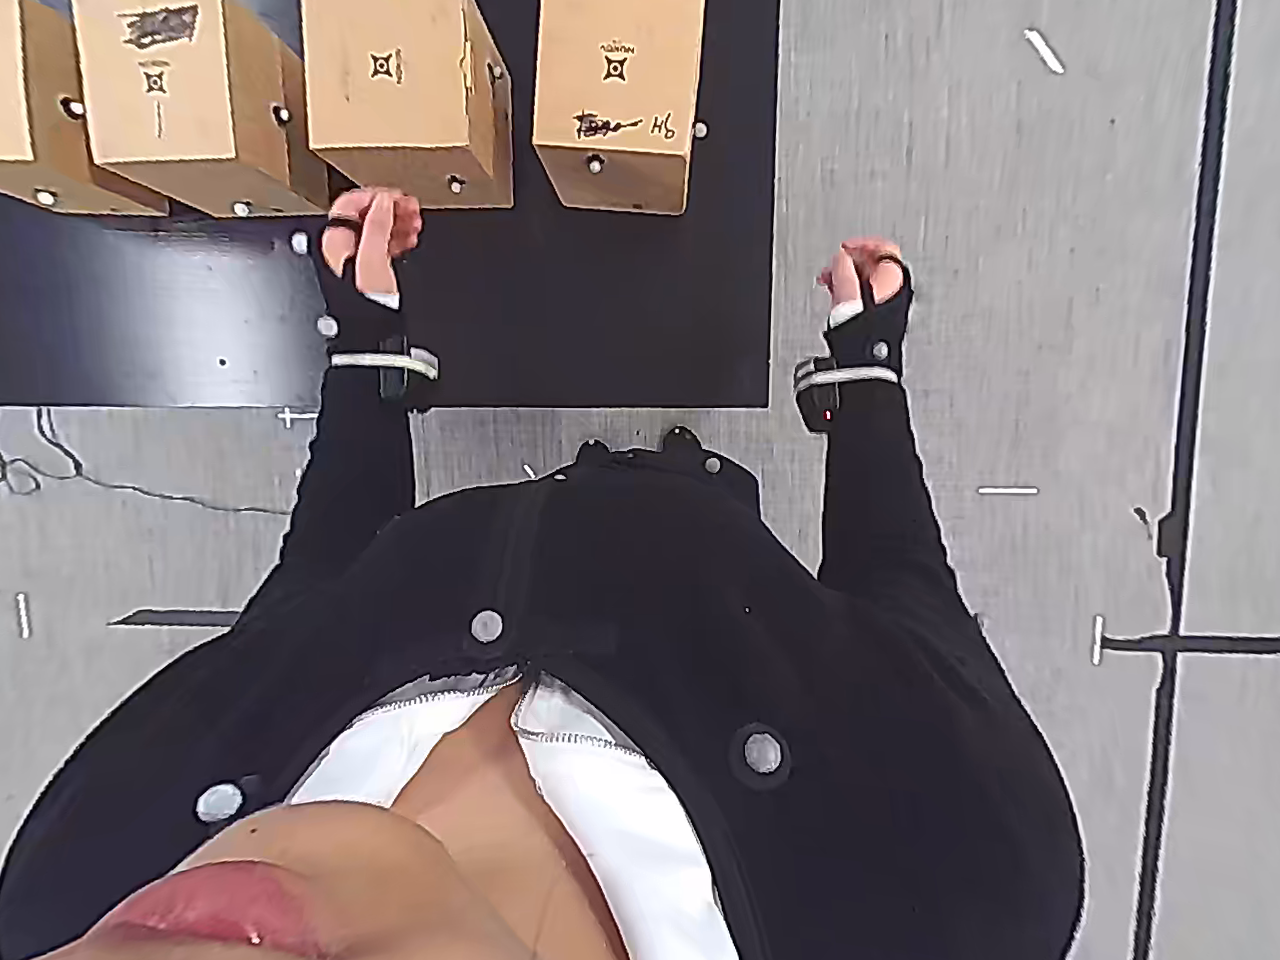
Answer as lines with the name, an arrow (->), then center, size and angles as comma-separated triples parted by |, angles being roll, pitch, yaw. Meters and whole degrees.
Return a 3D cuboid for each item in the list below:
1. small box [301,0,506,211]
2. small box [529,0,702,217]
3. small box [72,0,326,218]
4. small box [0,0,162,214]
small box -> -0.264, -0.439, 0.646 | 0.179, 0.176, 0.168 | 0, 95, 3
small box -> -0.023, -0.436, 0.633 | 0.168, 0.176, 0.179 | 6, 96, 3
small box -> -0.512, -0.438, 0.654 | 0.168, 0.176, 0.179 | -1, 98, 2
small box -> -0.736, -0.446, 0.663 | 0.168, 0.176, 0.179 | 3, 96, 1
